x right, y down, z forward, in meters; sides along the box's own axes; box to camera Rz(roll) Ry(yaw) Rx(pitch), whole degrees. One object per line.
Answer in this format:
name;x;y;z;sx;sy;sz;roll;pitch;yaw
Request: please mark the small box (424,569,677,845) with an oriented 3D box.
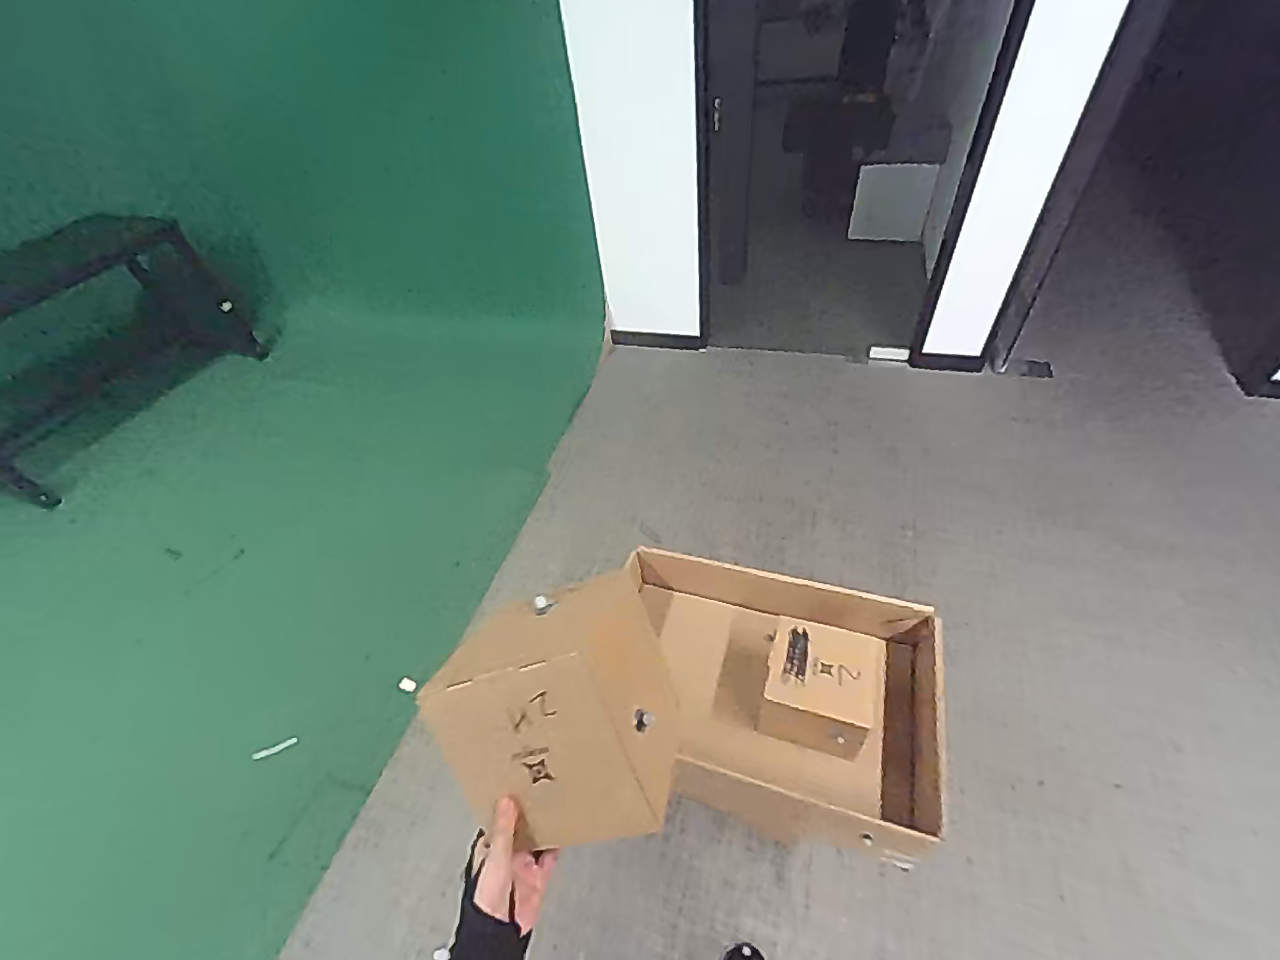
small box;-0.071;0.214;0.540;0.168;0.179;0.176;-19;8;14
